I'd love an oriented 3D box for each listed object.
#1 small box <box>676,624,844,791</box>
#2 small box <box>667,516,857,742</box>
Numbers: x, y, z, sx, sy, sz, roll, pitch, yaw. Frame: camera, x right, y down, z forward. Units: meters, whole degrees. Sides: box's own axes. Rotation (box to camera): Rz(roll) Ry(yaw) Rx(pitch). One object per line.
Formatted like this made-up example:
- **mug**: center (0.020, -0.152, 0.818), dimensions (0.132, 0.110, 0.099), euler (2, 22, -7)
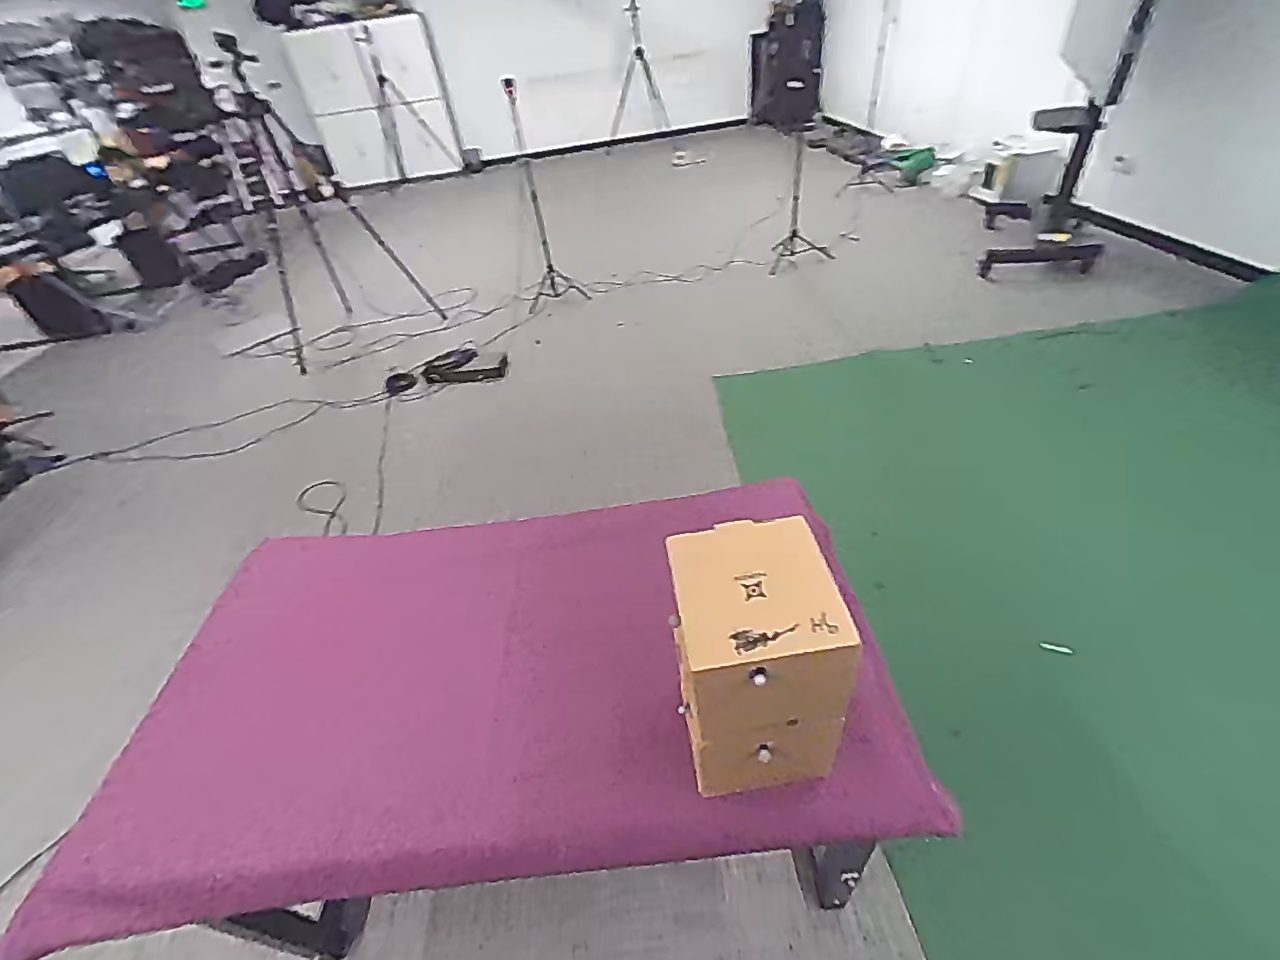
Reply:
- **small box**: center (0.153, 0.295, 0.733), dimensions (0.179, 0.176, 0.168), euler (-11, 41, 1)
- **small box**: center (0.131, 0.171, 0.627), dimensions (0.168, 0.176, 0.179), euler (-12, 40, 2)
